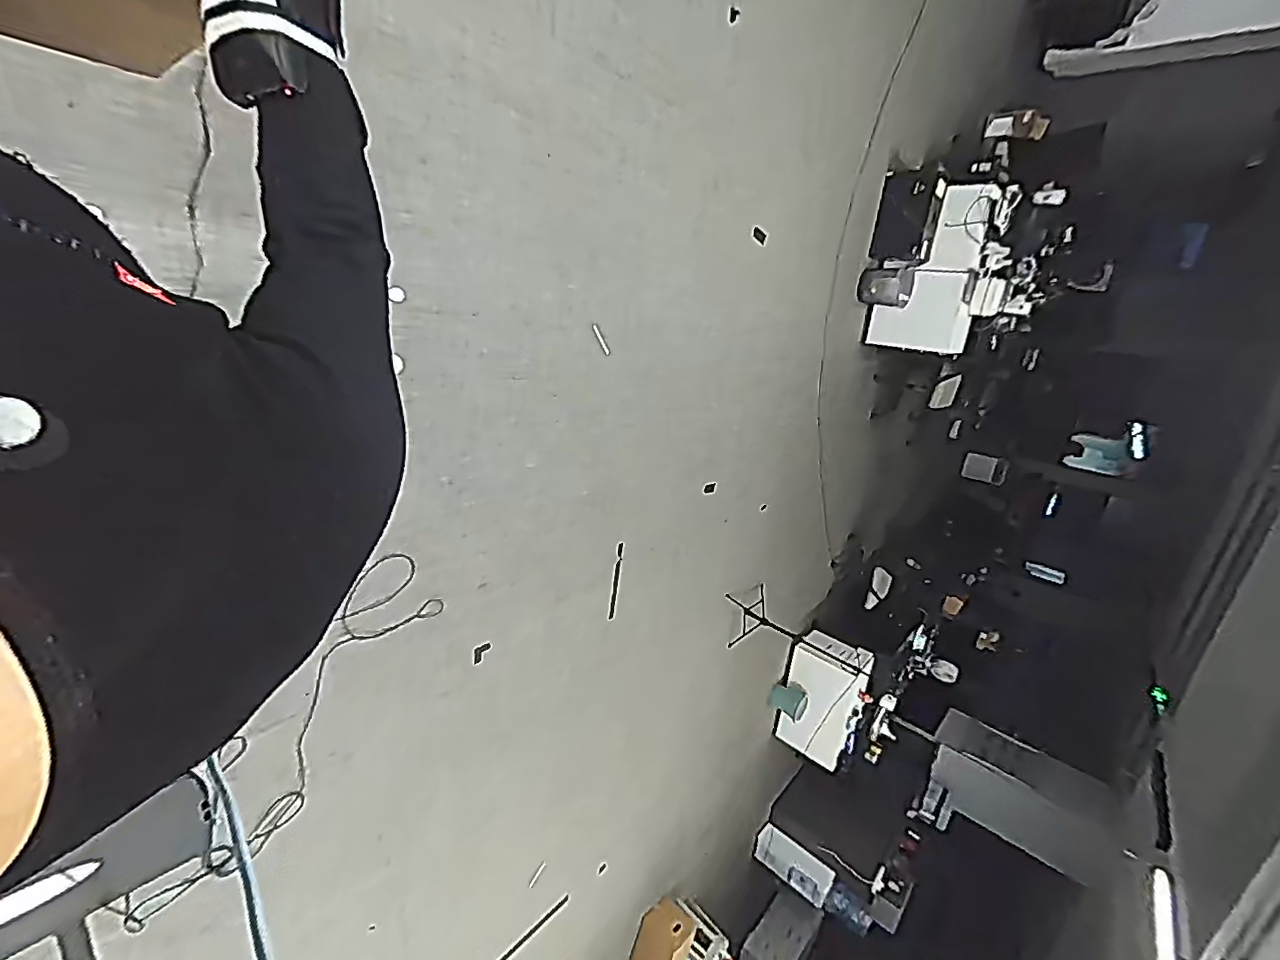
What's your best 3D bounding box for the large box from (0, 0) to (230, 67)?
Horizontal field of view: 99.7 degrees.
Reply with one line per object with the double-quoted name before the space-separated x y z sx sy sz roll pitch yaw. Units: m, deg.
"large box" -0.504 -0.487 0.277 0.408 0.320 0.320 -15 119 -47
